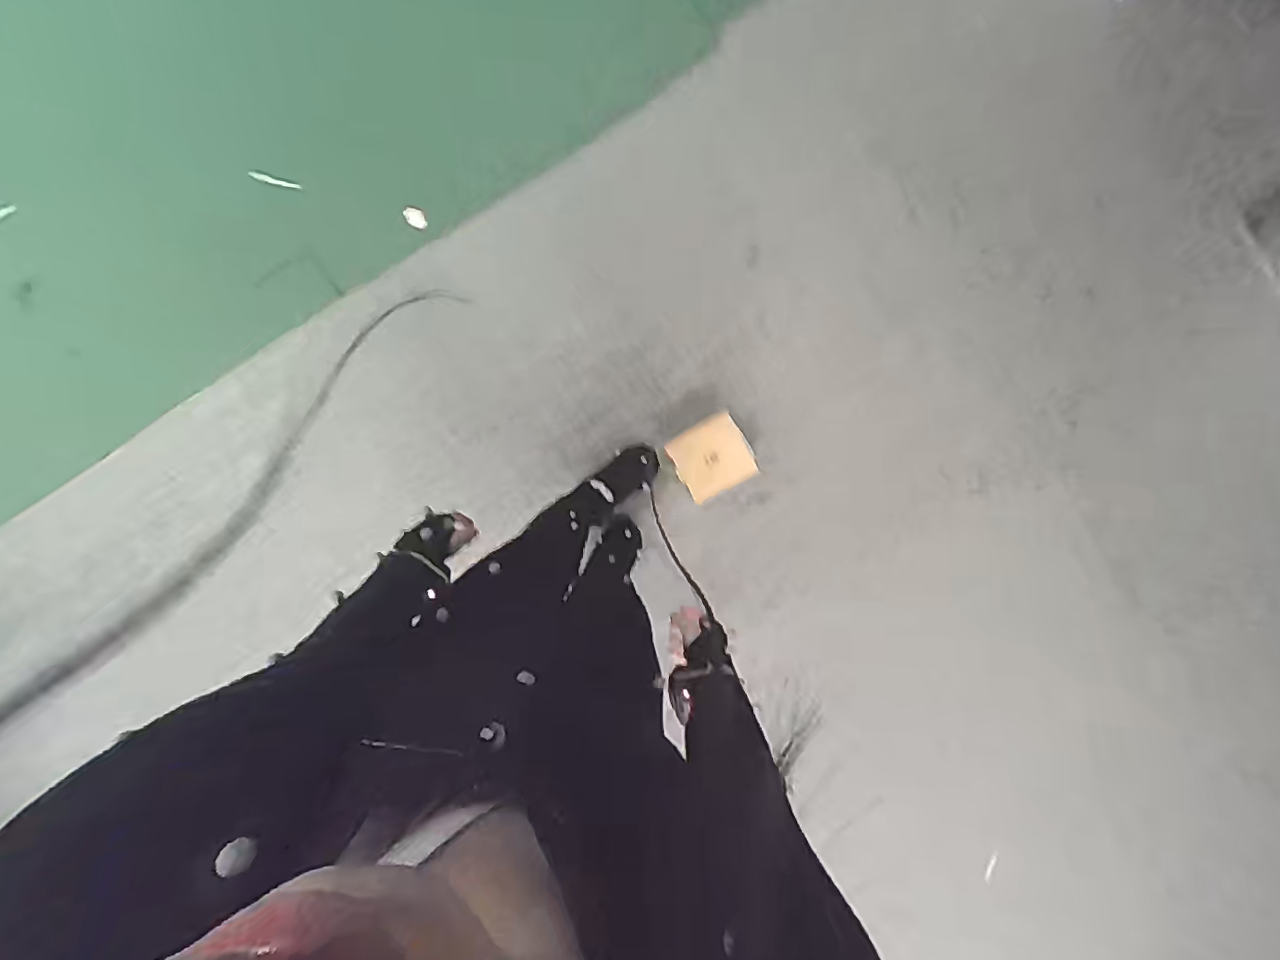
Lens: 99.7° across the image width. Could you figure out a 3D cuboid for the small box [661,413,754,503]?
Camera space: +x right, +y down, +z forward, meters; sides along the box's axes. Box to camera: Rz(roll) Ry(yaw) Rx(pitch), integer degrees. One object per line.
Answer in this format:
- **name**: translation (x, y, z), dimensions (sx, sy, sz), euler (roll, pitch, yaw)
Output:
- **small box**: translation (0.165, -0.060, 1.387), dimensions (0.179, 0.176, 0.168), euler (-28, 94, 2)
